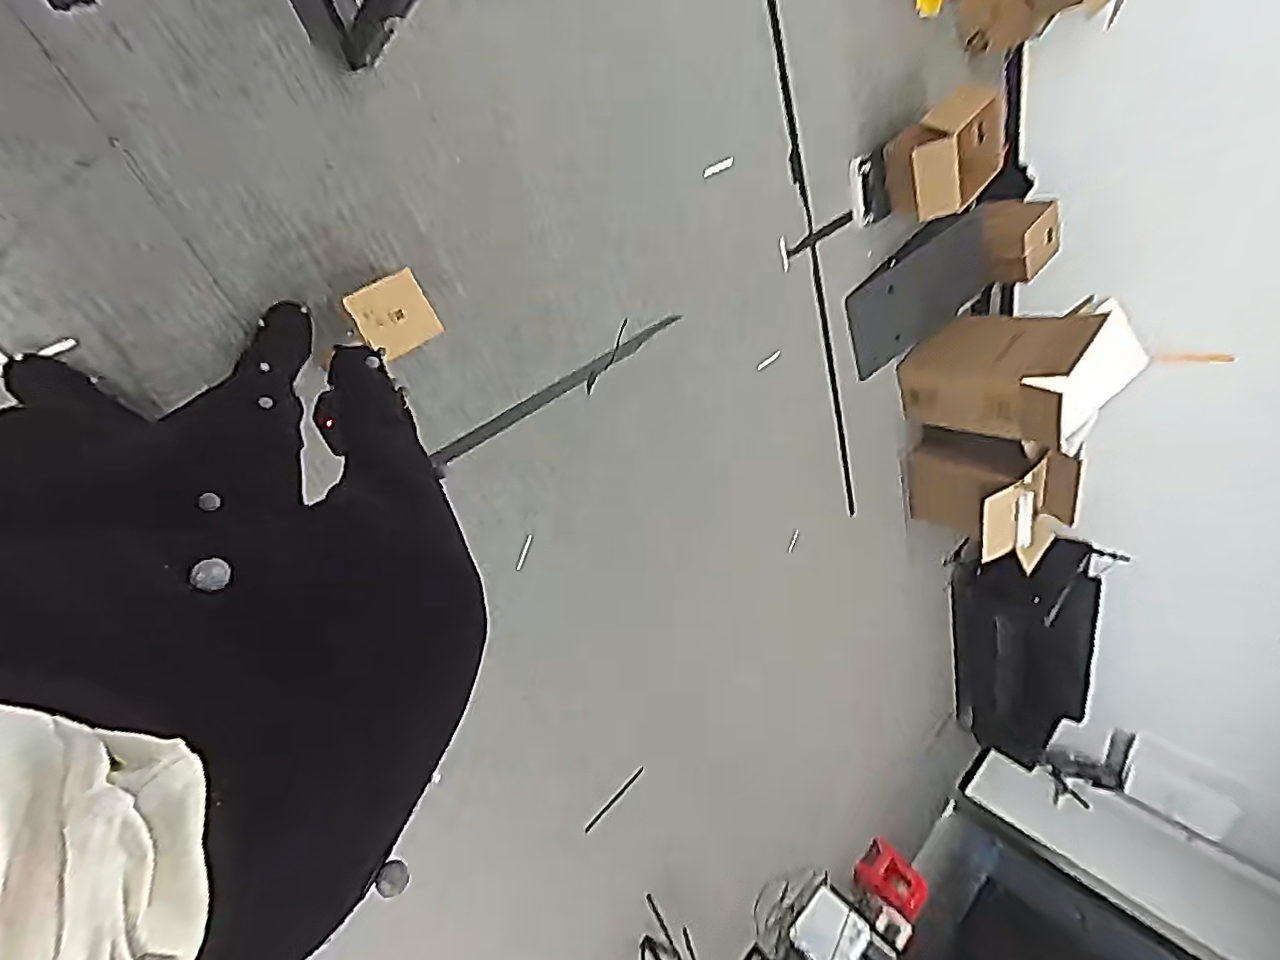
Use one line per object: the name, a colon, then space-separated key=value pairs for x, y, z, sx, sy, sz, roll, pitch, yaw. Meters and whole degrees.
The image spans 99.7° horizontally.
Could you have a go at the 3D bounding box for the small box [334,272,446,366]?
small box: x=-0.627 y=-0.406 z=1.352 sx=0.179 sy=0.176 sz=0.168 roll=-38 pitch=124 yaw=-23
